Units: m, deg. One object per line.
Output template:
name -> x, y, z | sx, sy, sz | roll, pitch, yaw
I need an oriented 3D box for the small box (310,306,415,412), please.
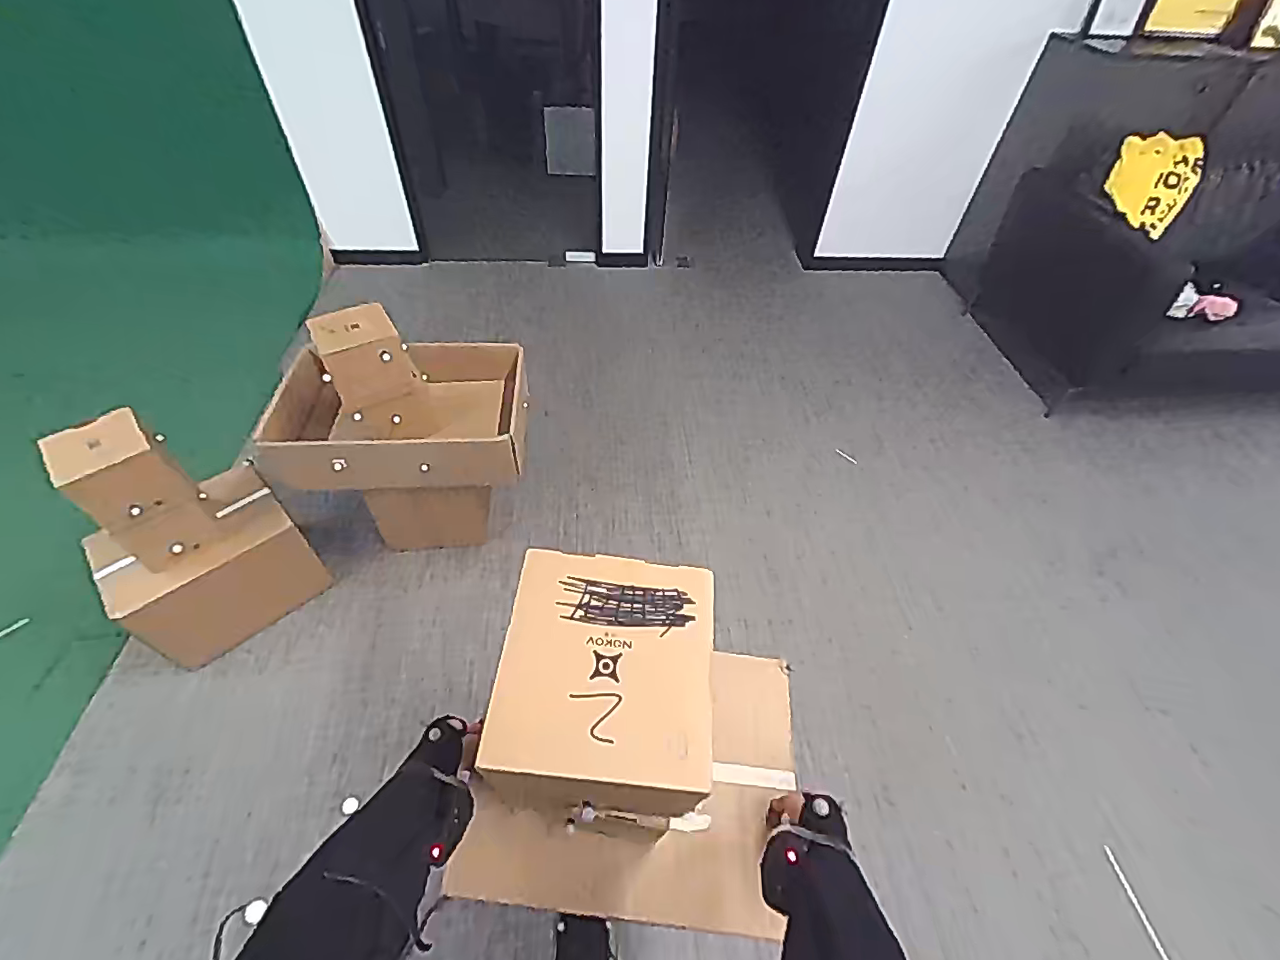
small box -> -0.676, -0.298, 1.334 | 0.179, 0.176, 0.168 | -25, 54, -22

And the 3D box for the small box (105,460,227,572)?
small box -> -1.158, 0.090, 1.318 | 0.168, 0.176, 0.179 | -32, 58, -27

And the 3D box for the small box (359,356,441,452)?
small box -> -0.667, -0.203, 1.471 | 0.179, 0.176, 0.168 | -26, 57, -23

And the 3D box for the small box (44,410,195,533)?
small box -> -1.142, -0.017, 1.195 | 0.168, 0.176, 0.179 | -35, 59, -28

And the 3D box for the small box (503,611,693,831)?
small box -> -0.042, 0.277, 0.616 | 0.168, 0.176, 0.179 | 10, 53, 3
